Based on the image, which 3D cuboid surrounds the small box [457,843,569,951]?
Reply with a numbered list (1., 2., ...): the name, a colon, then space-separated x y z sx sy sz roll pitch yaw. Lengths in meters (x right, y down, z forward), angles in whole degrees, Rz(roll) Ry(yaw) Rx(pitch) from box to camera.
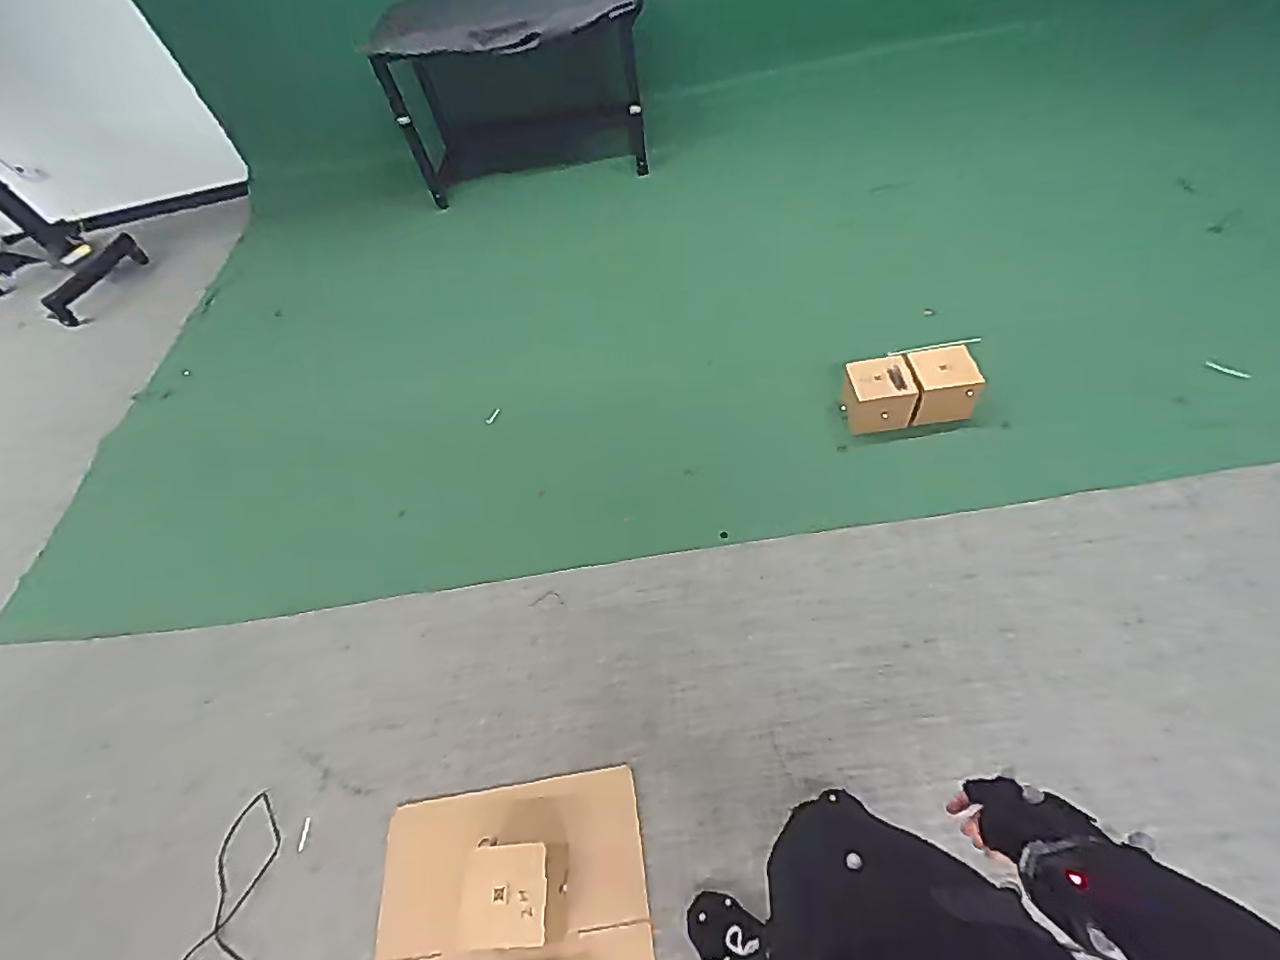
1. small box: -0.256 0.862 1.127 0.179 0.176 0.168 -8 56 5
